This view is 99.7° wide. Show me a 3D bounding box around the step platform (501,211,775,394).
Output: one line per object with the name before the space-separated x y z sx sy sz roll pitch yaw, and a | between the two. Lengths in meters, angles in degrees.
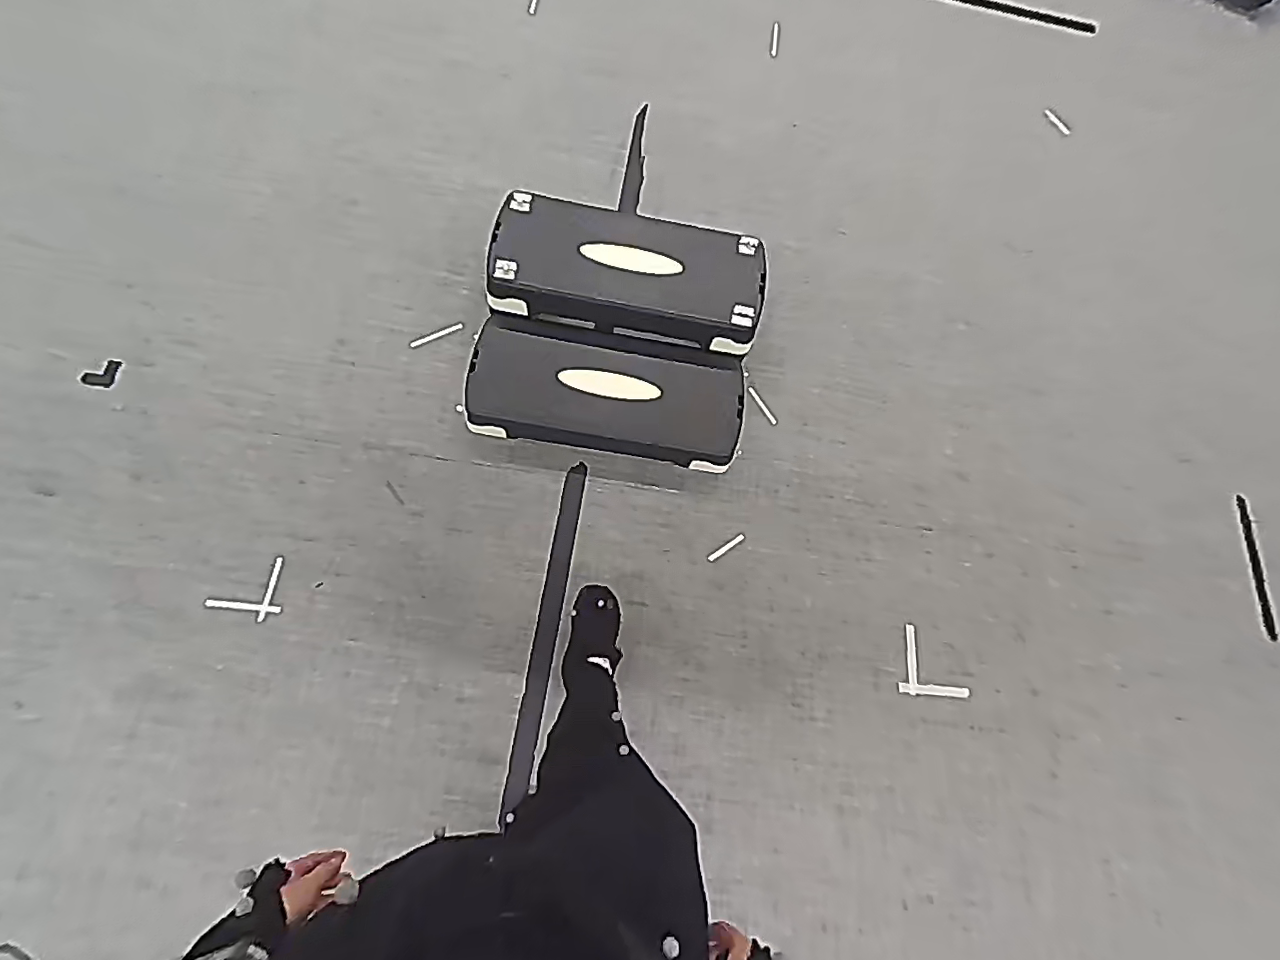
step platform | -0.004 -0.452 1.396 0.684 0.204 0.286 14 71 -3
